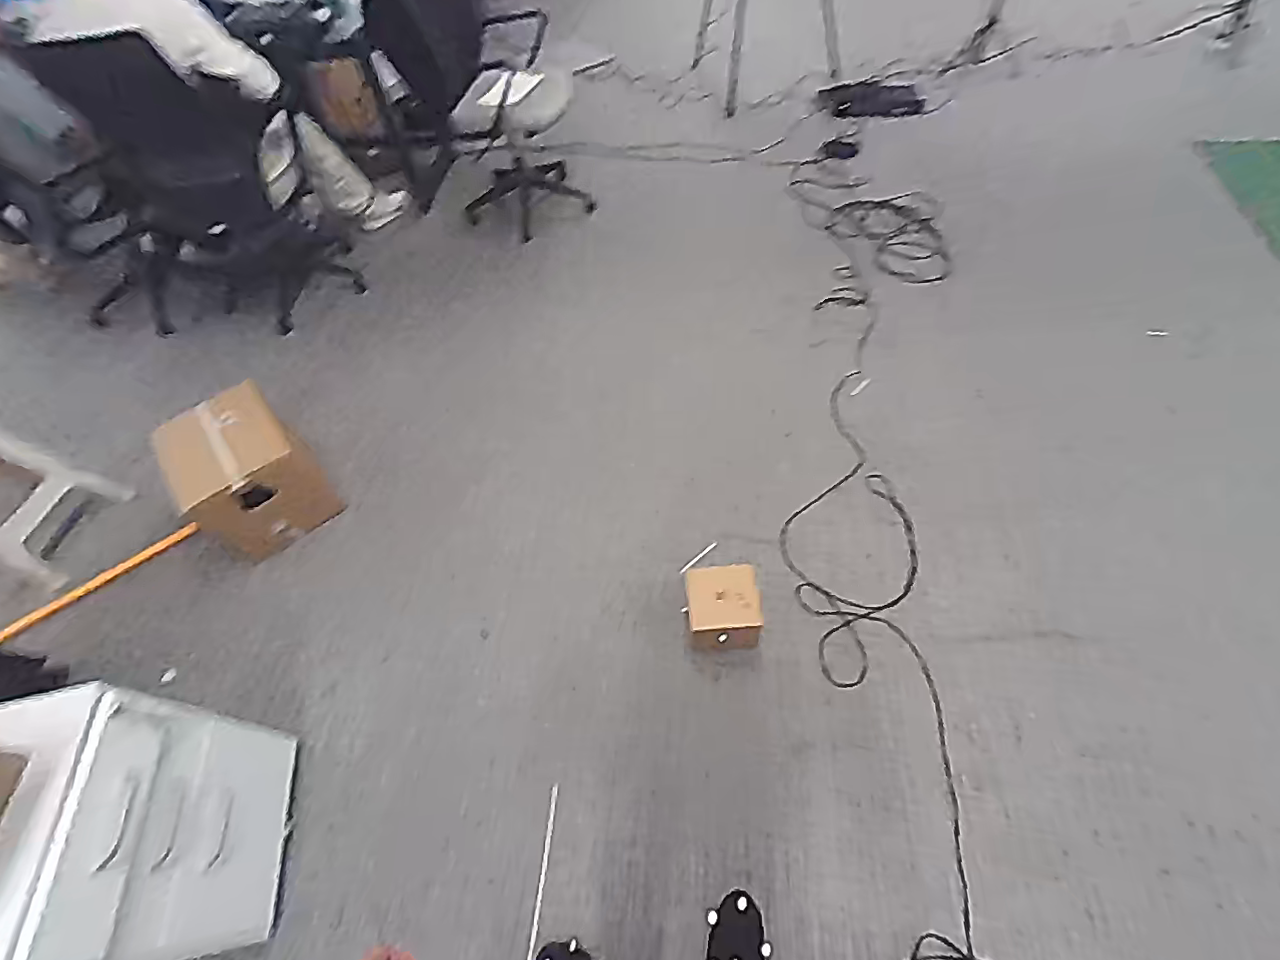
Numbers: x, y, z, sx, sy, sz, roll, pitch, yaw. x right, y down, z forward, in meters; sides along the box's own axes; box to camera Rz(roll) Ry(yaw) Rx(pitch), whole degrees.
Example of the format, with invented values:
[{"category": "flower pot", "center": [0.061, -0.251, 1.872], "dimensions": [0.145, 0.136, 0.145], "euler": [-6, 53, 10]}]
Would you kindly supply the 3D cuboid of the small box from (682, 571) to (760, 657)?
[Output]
[{"category": "small box", "center": [0.206, 0.353, 1.406], "dimensions": [0.179, 0.176, 0.168], "euler": [-5, 55, 1]}]
